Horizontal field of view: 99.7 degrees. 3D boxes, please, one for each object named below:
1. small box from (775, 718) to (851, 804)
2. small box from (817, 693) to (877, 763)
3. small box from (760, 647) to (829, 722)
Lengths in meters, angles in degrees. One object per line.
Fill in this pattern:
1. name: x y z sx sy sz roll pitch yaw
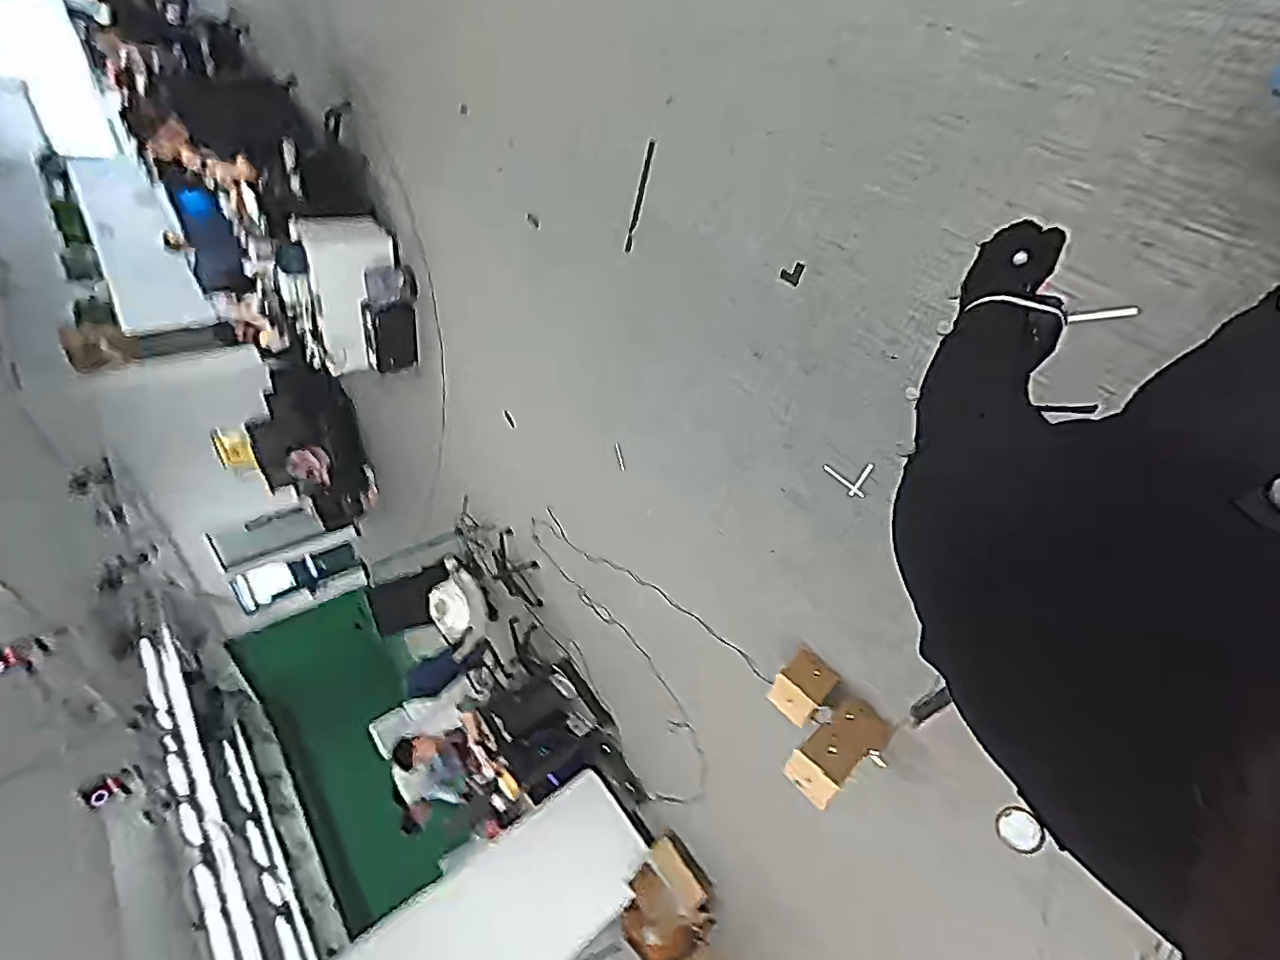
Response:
1. small box: 0.608 0.974 1.886 0.168 0.176 0.179 40 136 34
2. small box: 0.733 0.918 1.977 0.168 0.176 0.179 43 138 30
3. small box: 0.596 0.784 2.079 0.168 0.176 0.179 39 136 33
